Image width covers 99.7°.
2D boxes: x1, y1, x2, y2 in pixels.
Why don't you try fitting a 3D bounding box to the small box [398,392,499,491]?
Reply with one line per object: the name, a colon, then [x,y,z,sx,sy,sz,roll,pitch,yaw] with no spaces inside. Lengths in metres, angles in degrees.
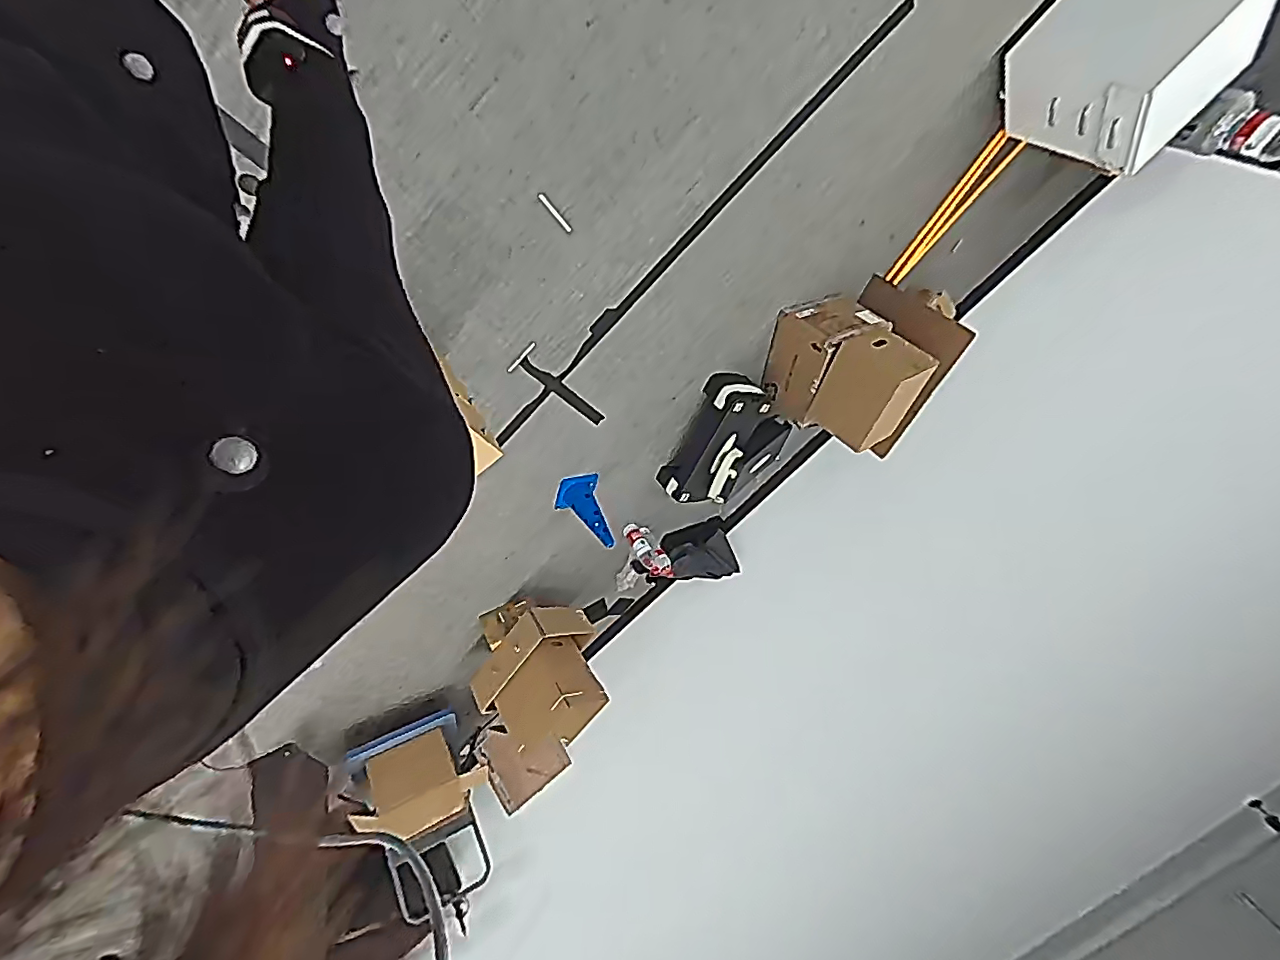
small box: [-0.521,-0.108,1.471,0.168,0.176,0.179,-38,146,1]
